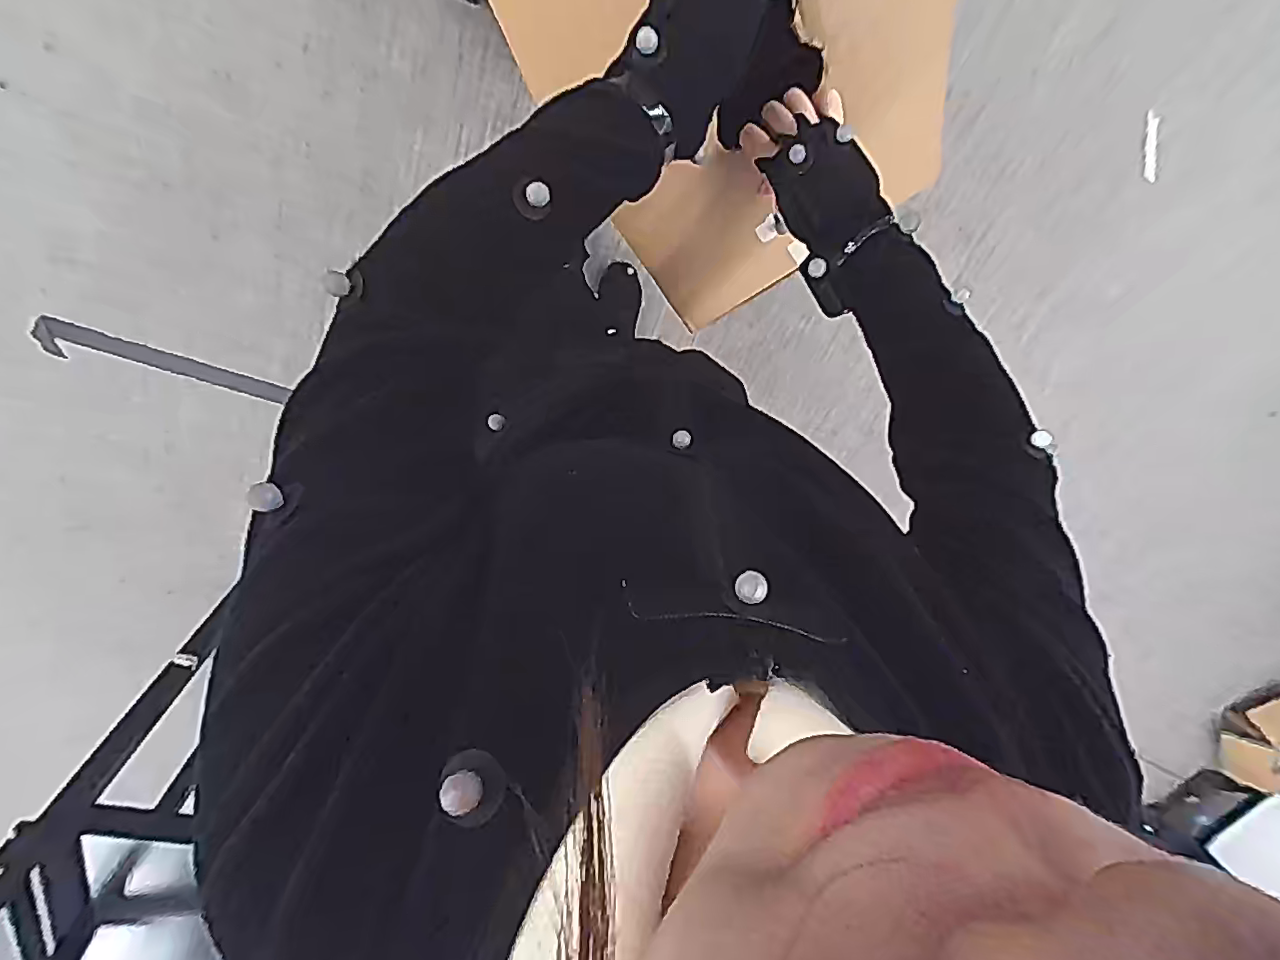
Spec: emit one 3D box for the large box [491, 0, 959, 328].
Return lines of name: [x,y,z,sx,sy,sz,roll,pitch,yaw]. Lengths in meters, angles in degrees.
large box: [0.067,-0.450,0.565,0.320,0.408,0.320,-29,154,15]
